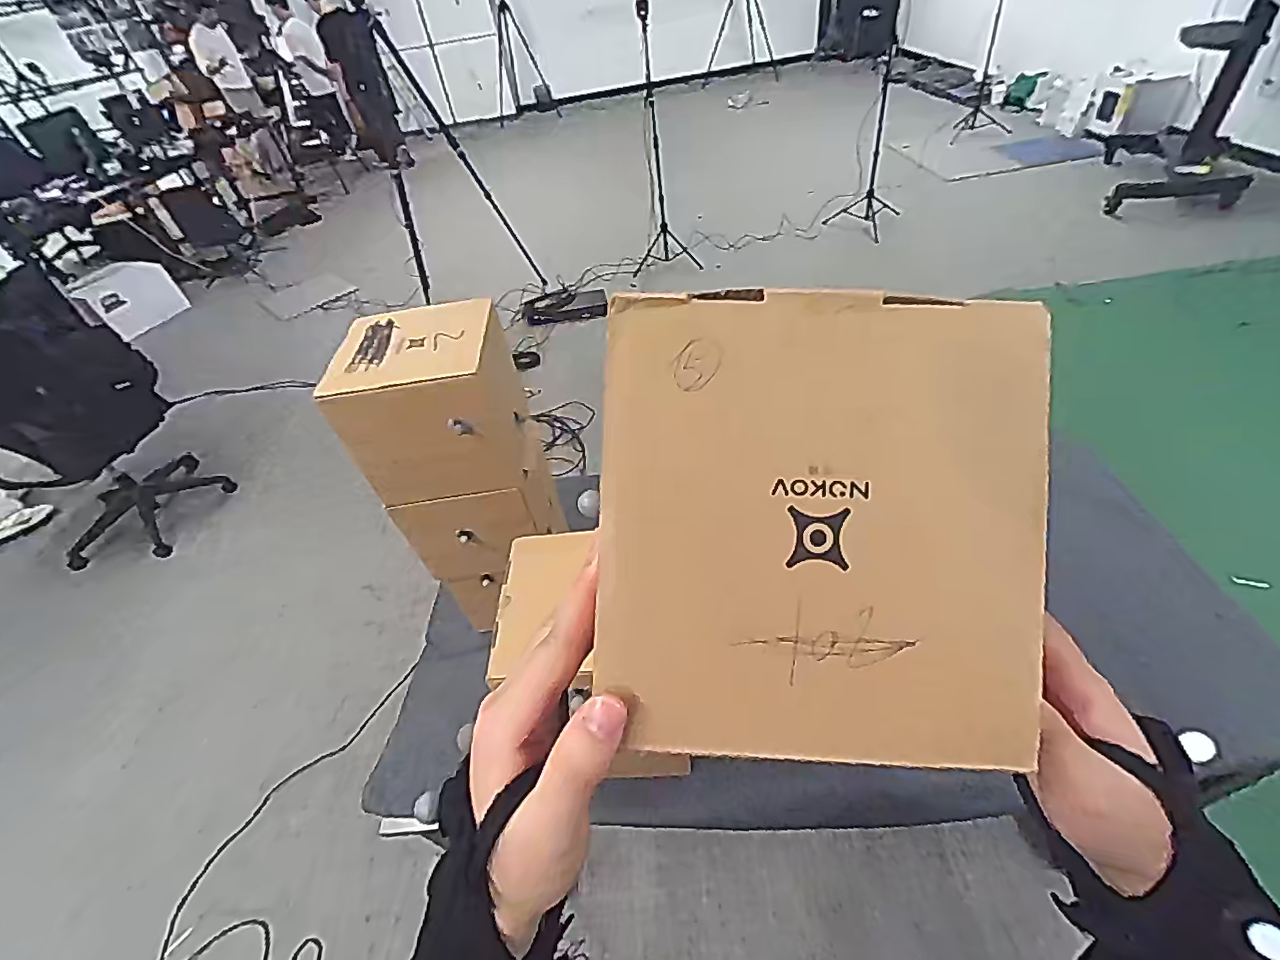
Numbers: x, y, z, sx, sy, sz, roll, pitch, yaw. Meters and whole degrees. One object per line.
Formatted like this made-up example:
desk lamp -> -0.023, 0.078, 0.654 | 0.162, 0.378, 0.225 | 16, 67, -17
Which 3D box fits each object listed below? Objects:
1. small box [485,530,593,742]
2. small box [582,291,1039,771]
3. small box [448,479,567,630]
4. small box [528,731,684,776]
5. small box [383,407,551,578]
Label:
small box -> -0.046, 0.171, 0.593 | 0.179, 0.176, 0.168 | -7, 45, 5
small box -> 0.065, 0.019, 0.282 | 0.168, 0.176, 0.179 | 2, 90, 3
small box -> -0.212, 0.125, 0.908 | 0.168, 0.176, 0.179 | -9, 45, 1
small box -> -0.032, 0.277, 0.716 | 0.179, 0.176, 0.168 | -5, 44, 6
small box -> -0.232, 0.021, 0.780 | 0.179, 0.176, 0.168 | -10, 46, 2
